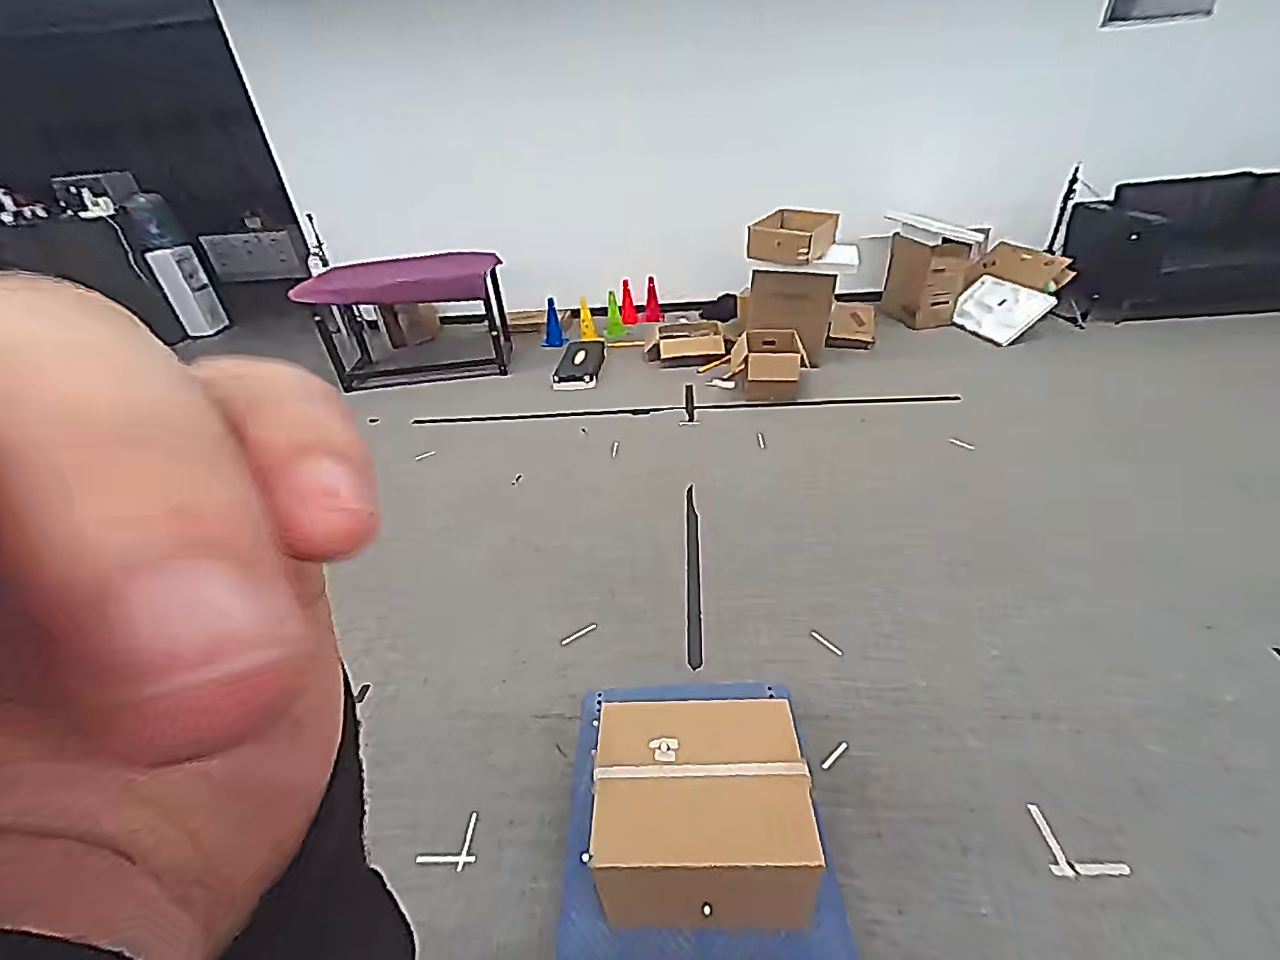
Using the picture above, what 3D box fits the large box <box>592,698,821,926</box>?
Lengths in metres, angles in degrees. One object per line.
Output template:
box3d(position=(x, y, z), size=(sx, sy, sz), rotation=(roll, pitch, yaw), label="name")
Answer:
box3d(position=(0.129, 0.696, 1.138), size=(0.408, 0.320, 0.320), rotation=(-4, 33, 4), label="large box")
